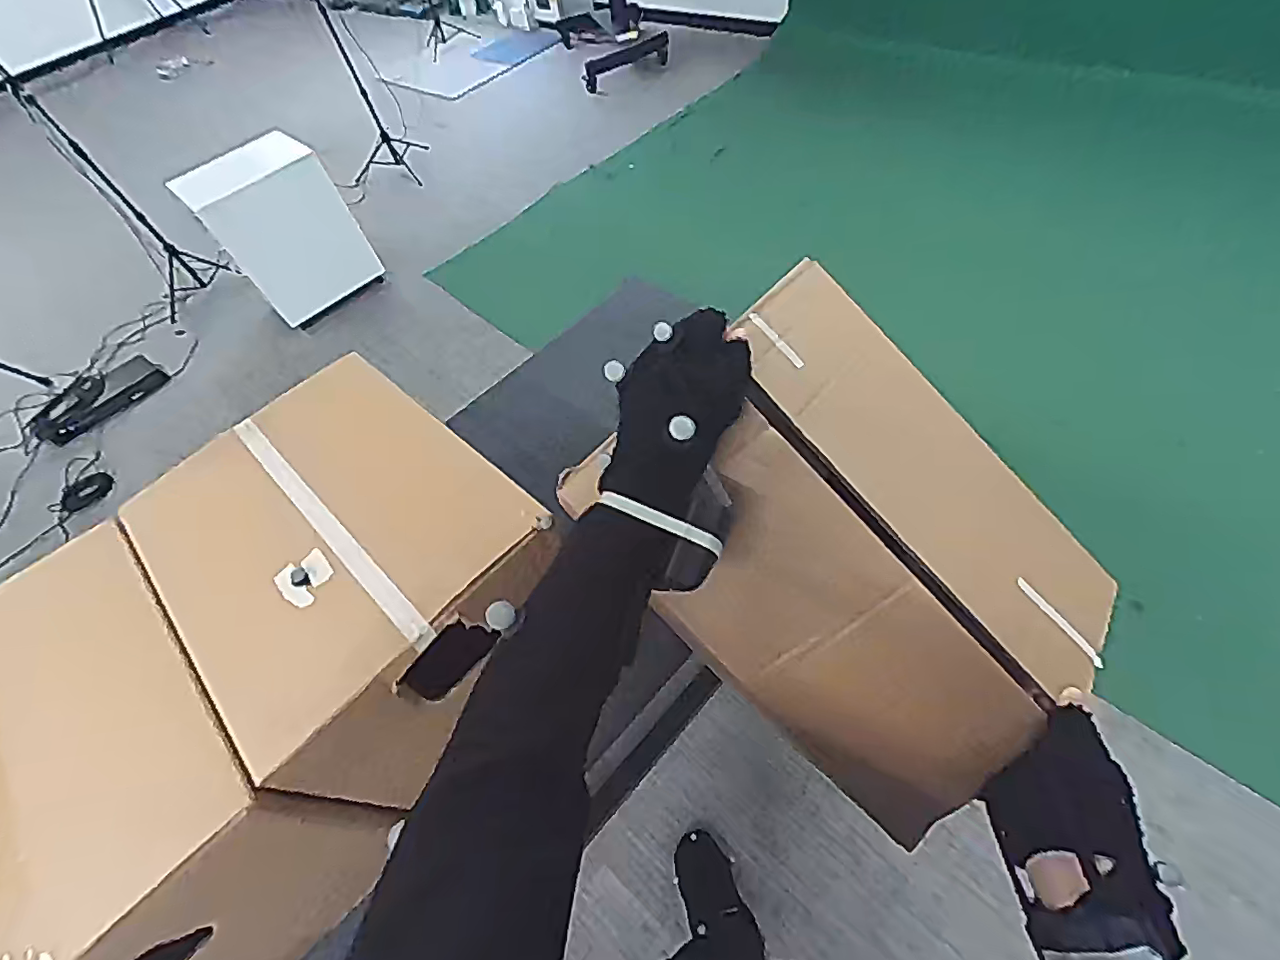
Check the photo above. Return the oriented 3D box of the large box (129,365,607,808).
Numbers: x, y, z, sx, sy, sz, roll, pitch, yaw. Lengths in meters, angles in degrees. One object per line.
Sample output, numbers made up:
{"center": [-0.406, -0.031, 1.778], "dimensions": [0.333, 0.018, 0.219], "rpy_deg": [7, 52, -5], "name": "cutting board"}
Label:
{"center": [-0.306, 0.126, 0.686], "dimensions": [0.408, 0.320, 0.320], "rpy_deg": [34, 68, 28], "name": "large box"}
